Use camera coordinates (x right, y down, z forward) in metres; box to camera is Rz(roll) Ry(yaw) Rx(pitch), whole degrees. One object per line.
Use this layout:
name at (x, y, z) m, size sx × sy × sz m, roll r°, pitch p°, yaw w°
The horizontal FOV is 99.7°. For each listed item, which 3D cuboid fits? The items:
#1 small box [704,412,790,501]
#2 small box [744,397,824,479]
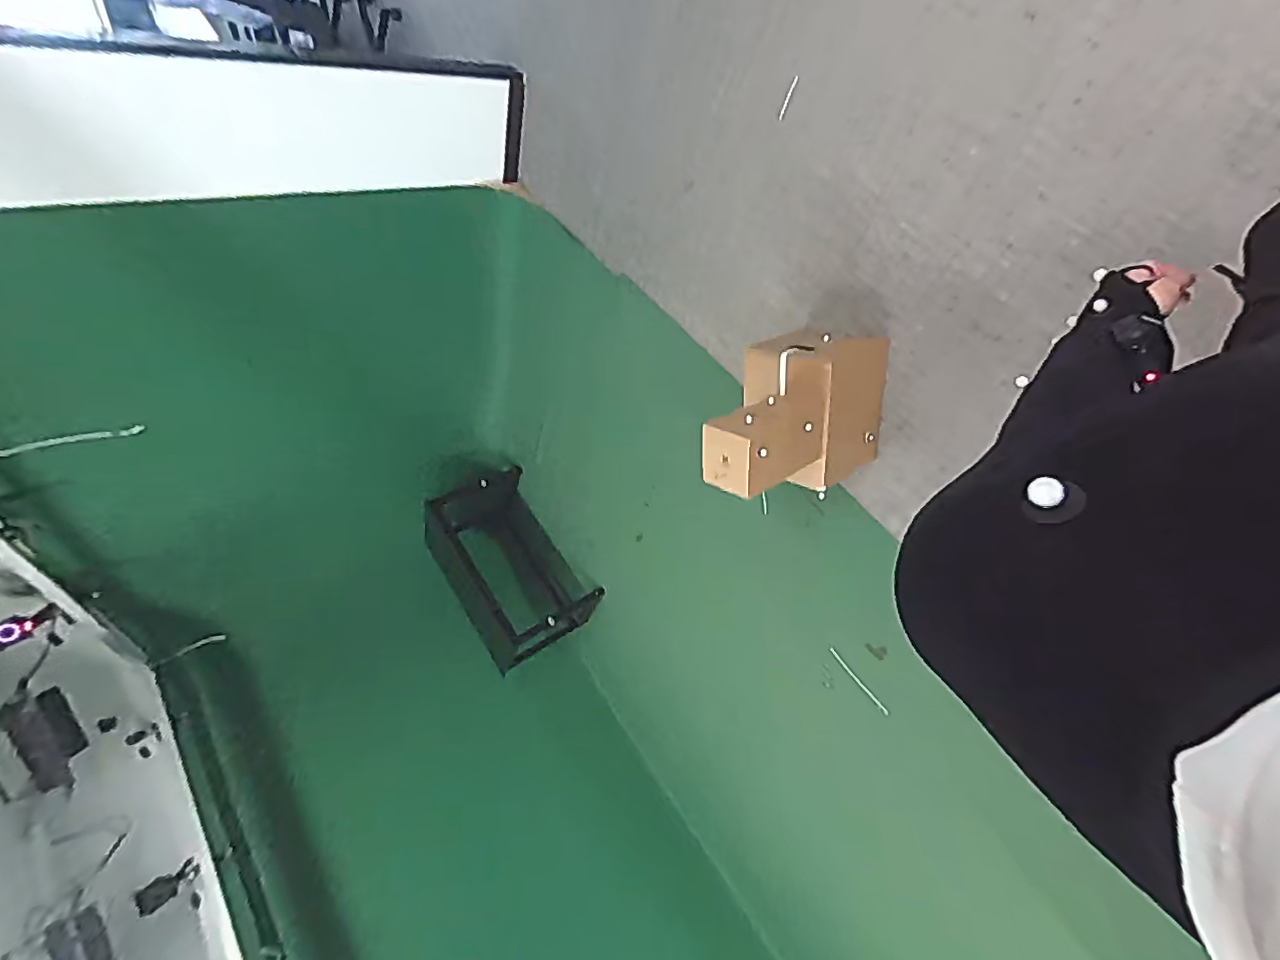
small box at (0.293, -0.073, 1.480) m, size 0.168 × 0.176 × 0.179 m, roll 26°, pitch 130°, yaw 44°
small box at (0.417, -0.130, 1.572) m, size 0.168 × 0.176 × 0.179 m, roll 23°, pitch 129°, yaw 45°
